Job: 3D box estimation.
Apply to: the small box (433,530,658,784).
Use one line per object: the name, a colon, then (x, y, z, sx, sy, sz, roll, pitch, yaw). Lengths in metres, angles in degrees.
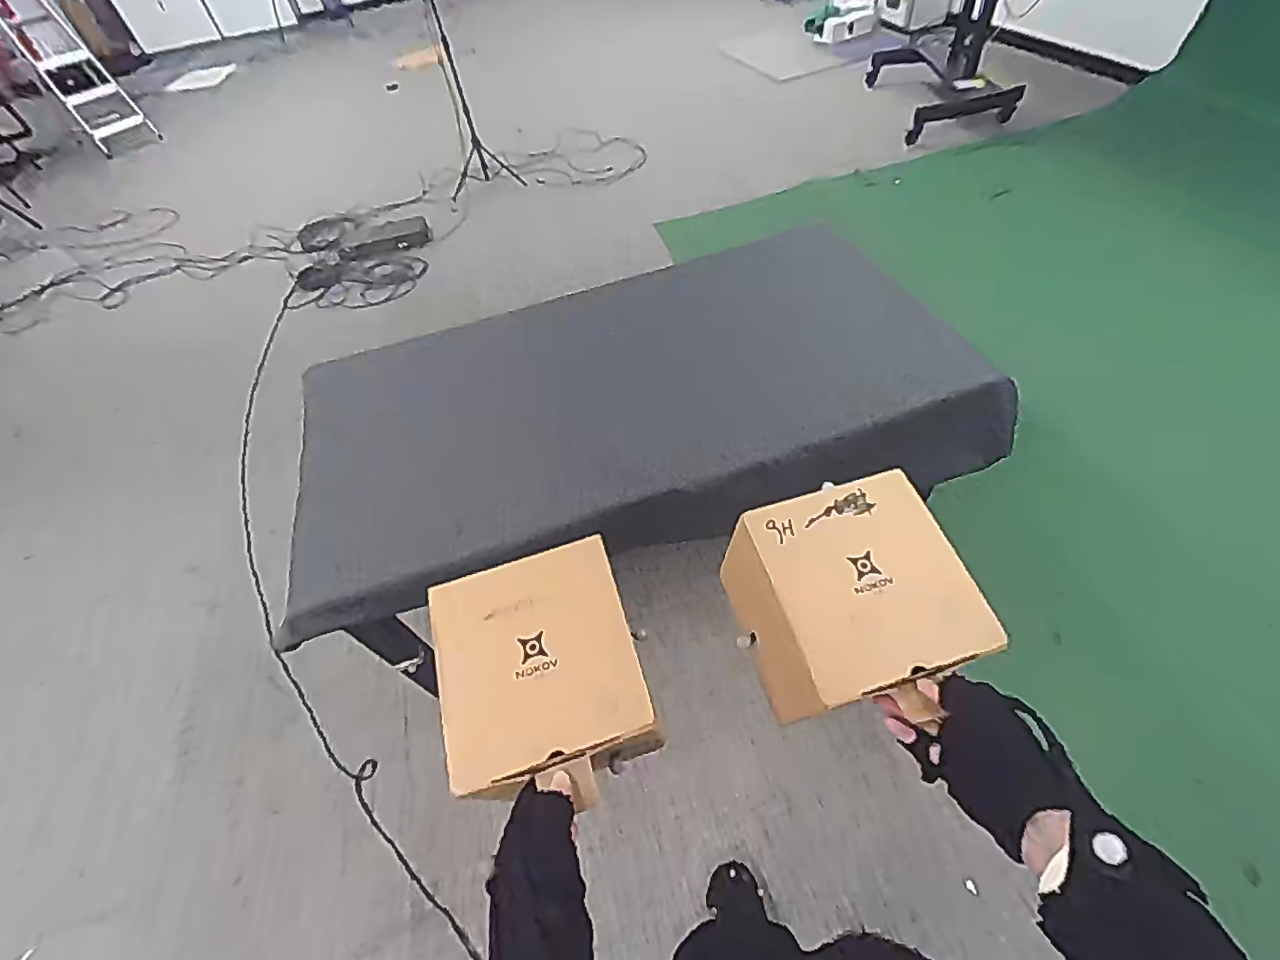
small box: (-0.085, 0.181, 0.533, 0.168, 0.176, 0.179, -17, 58, -7)
